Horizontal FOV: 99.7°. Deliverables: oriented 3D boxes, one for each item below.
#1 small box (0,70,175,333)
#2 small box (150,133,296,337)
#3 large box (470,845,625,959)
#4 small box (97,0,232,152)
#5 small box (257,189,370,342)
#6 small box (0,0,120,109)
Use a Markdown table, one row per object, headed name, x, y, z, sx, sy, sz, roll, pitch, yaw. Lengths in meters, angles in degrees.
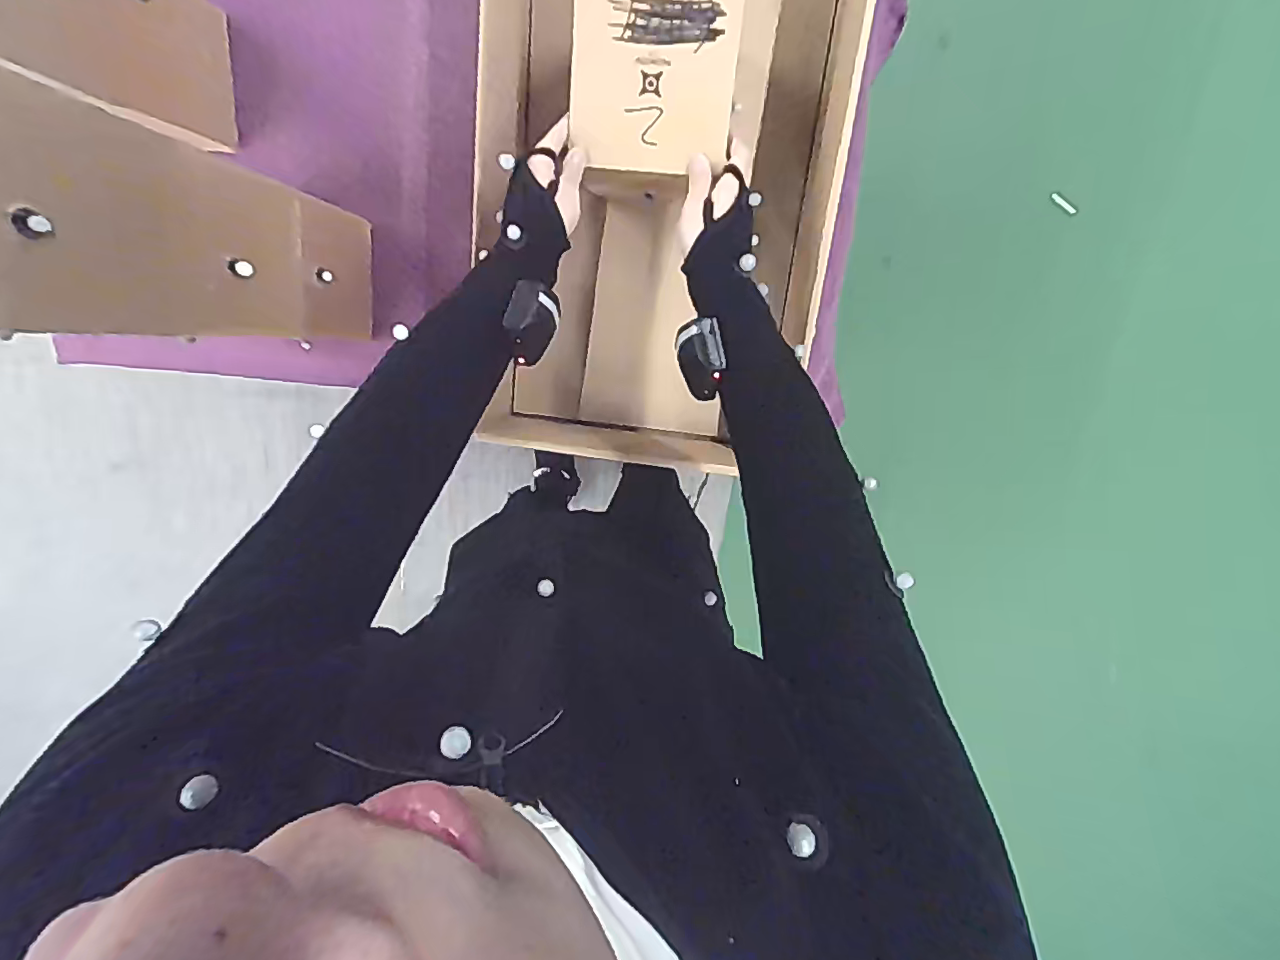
| name | x | y | z | sx | sy | sz | roll | pitch | yaw |
| --- | --- | --- | --- | --- | --- | --- | --- | --- | --- |
| small box | -0.506 | -0.212 | 0.415 | 0.168 | 0.176 | 0.179 | 8 | 103 | 1 |
| small box | -0.499 | -0.251 | 0.576 | 0.168 | 0.176 | 0.179 | 7 | 104 | 1 |
| large box | -0.302 | 1.560 | 1.863 | 0.408 | 0.320 | 0.320 | -25 | 102 | 9 |
| small box | -0.661 | -0.540 | 0.685 | 0.168 | 0.176 | 0.179 | 6 | 104 | 3 |
| small box | -0.489 | -0.286 | 0.735 | 0.168 | 0.176 | 0.179 | 7 | 103 | 2 |
| small box | -0.665 | -0.503 | 0.525 | 0.168 | 0.176 | 0.179 | 10 | 105 | 2 |
